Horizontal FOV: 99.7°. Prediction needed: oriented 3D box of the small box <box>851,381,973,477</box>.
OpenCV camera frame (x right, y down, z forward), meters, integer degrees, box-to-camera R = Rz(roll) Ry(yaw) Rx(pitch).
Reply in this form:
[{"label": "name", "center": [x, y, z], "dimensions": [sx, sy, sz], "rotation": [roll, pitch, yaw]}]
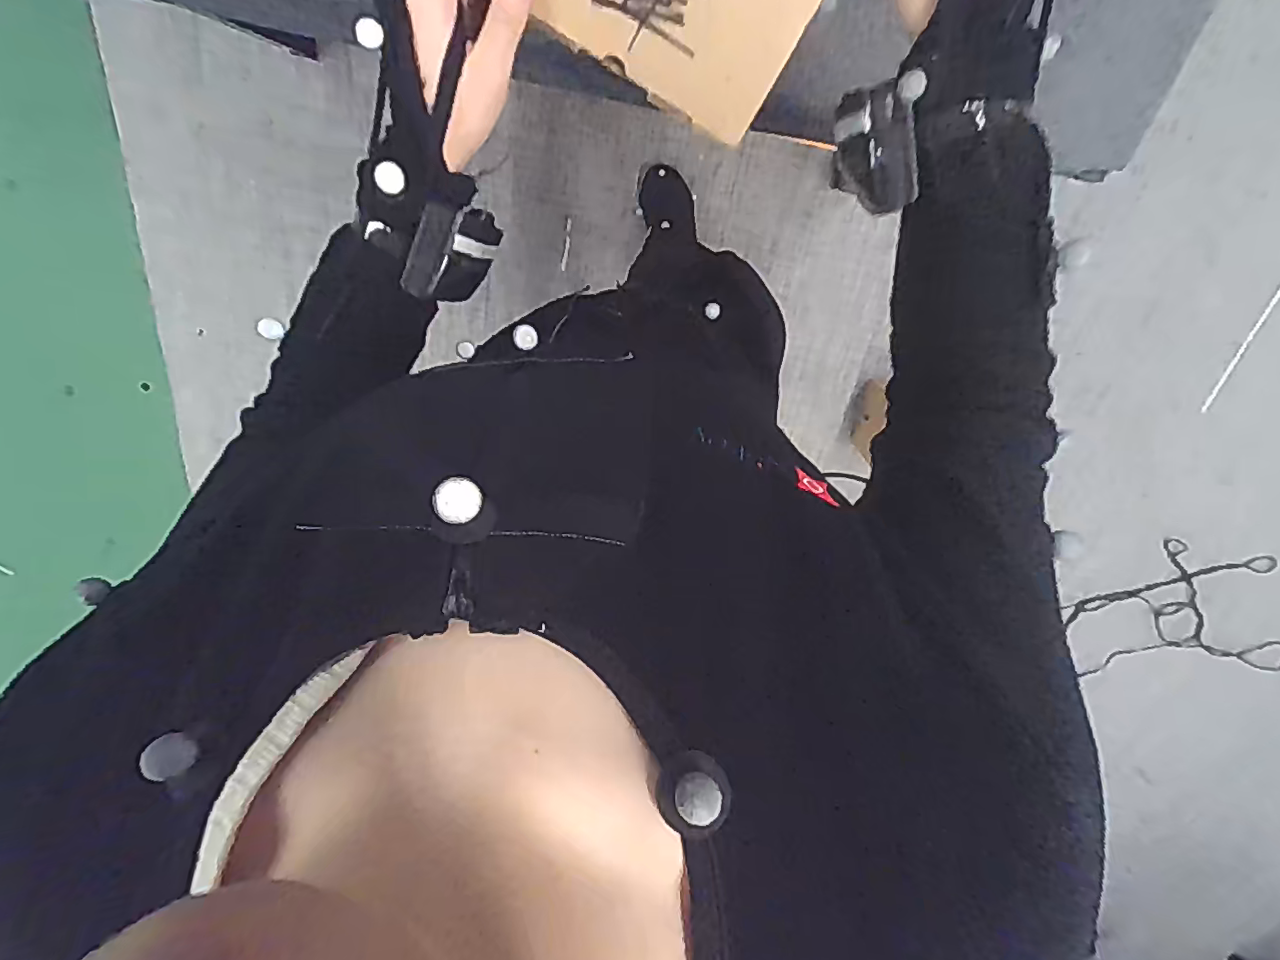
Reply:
[{"label": "small box", "center": [0.615, -0.123, 1.248], "dimensions": [0.179, 0.176, 0.168], "rotation": [7, 115, 1]}]
